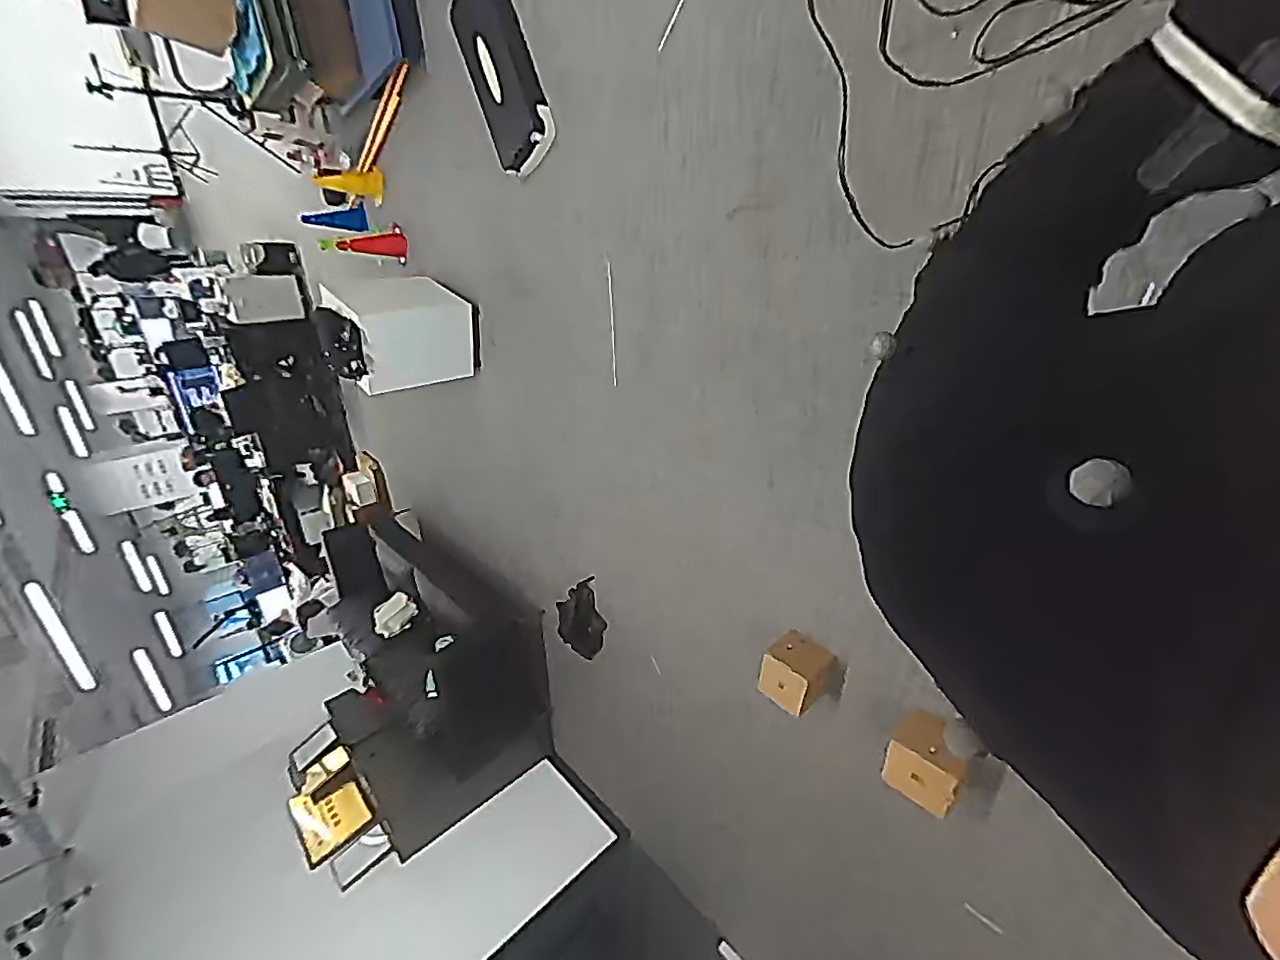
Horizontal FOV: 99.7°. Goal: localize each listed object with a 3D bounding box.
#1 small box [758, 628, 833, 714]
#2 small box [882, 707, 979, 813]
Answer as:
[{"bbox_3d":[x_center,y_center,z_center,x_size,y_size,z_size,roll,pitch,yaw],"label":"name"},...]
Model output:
[{"bbox_3d":[0.518,0.626,1.796,0.168,0.176,0.179,28,128,41],"label":"small box"},{"bbox_3d":[0.813,0.771,1.518,0.179,0.176,0.168,23,123,41],"label":"small box"}]
